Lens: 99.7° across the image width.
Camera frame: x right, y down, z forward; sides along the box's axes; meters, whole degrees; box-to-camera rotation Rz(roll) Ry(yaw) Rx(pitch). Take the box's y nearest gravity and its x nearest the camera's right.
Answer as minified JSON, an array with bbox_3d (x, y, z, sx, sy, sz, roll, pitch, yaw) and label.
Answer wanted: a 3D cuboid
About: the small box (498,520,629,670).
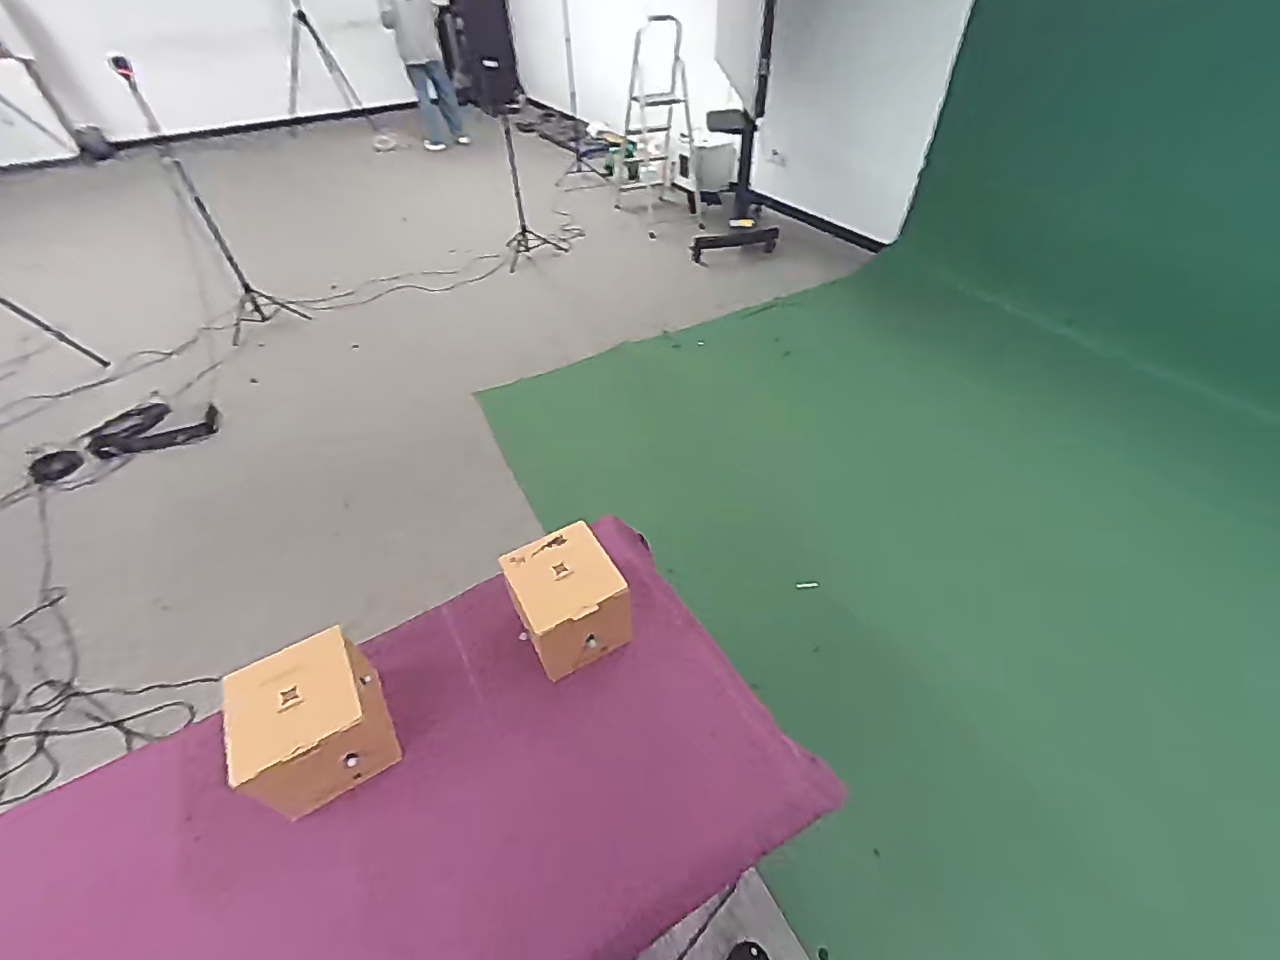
[{"bbox_3d":[-0.130,0.210,0.960,0.168,0.176,0.179,-24,50,-20],"label":"small box"}]

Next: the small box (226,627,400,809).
[{"bbox_3d":[-0.490,0.367,0.825,0.168,0.176,0.179,-25,49,-21],"label":"small box"}]
